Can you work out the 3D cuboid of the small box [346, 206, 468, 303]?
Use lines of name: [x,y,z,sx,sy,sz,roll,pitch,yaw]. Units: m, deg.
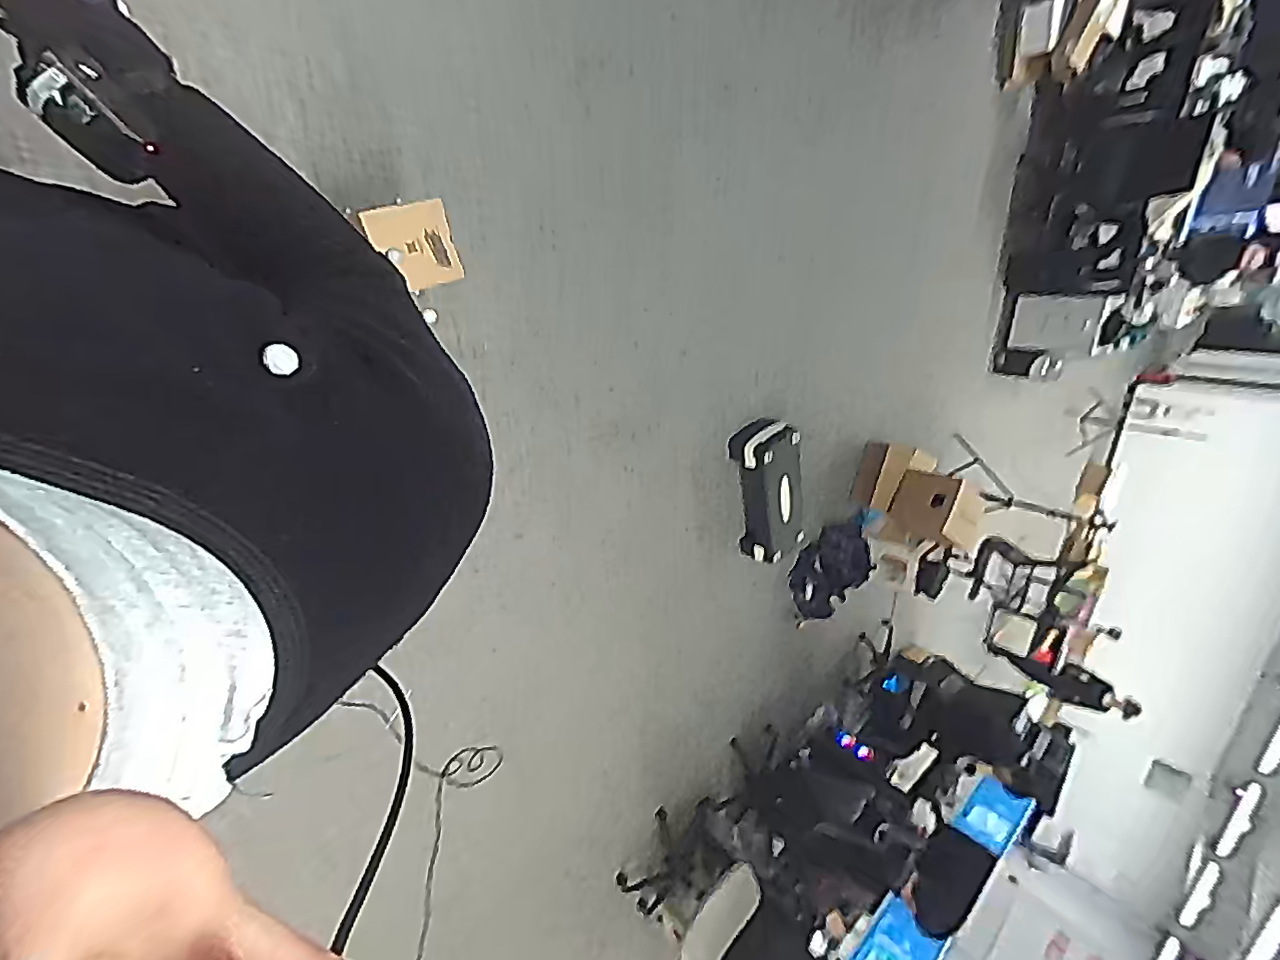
small box: [-0.515,-0.500,1.194,0.179,0.176,0.168,-29,123,-29]
